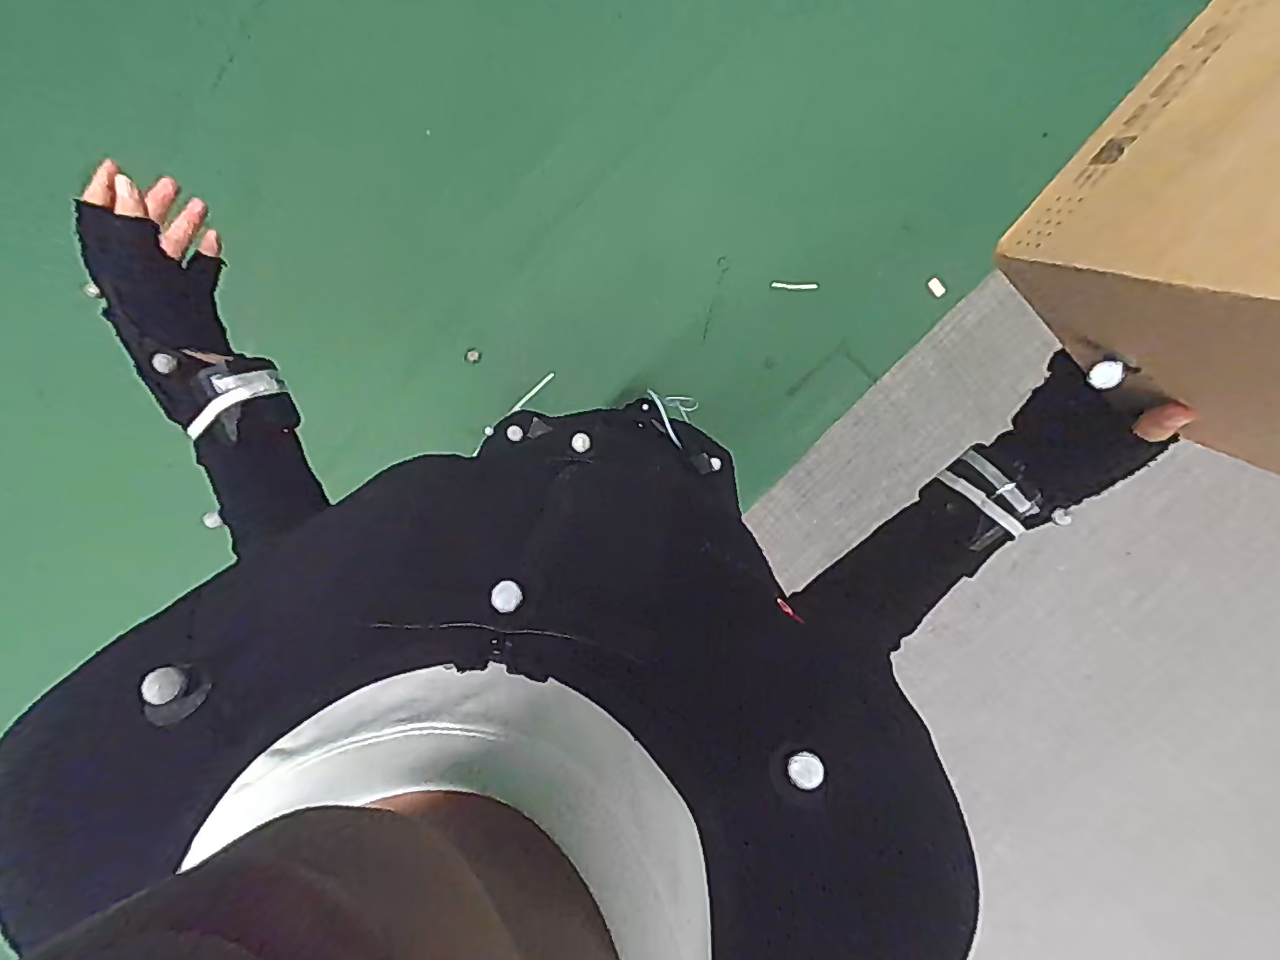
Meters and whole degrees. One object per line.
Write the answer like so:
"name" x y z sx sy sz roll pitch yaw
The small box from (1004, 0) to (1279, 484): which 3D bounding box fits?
"small box" 0.323 -0.103 0.243 0.179 0.176 0.168 31 109 -25
